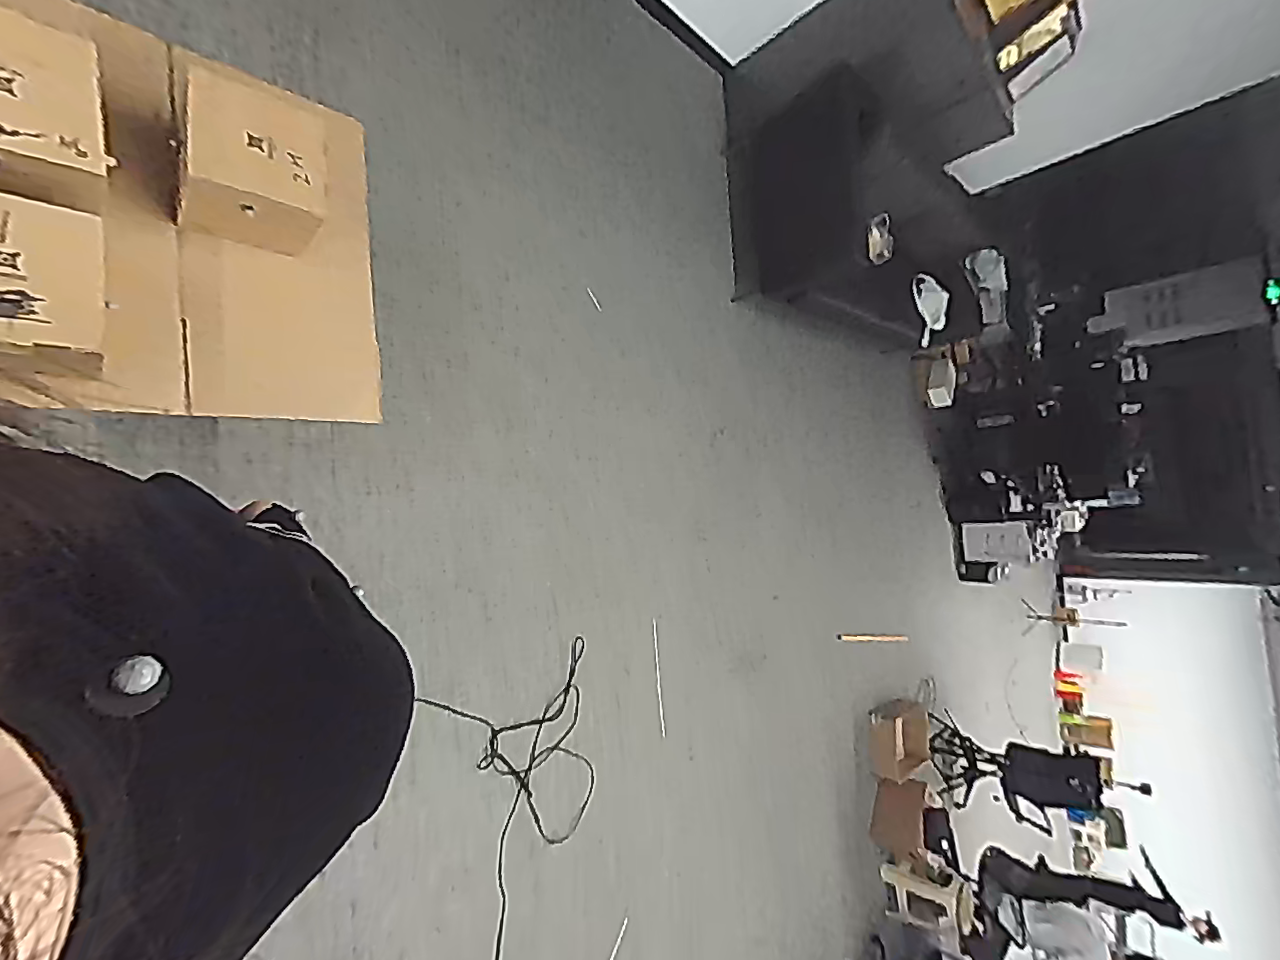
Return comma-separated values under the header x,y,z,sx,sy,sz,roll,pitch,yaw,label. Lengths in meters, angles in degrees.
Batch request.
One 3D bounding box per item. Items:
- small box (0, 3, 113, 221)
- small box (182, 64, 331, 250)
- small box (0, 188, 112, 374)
x,y,z,sx,sy,sz,roll,pitch,yaw,label
-0.787,-0.461,0.683,0.168,0.176,0.179,-4,87,-44,small box
-0.614,-0.495,0.865,0.179,0.176,0.168,2,84,-44,small box
-0.774,-0.240,0.672,0.168,0.176,0.179,0,85,-45,small box
